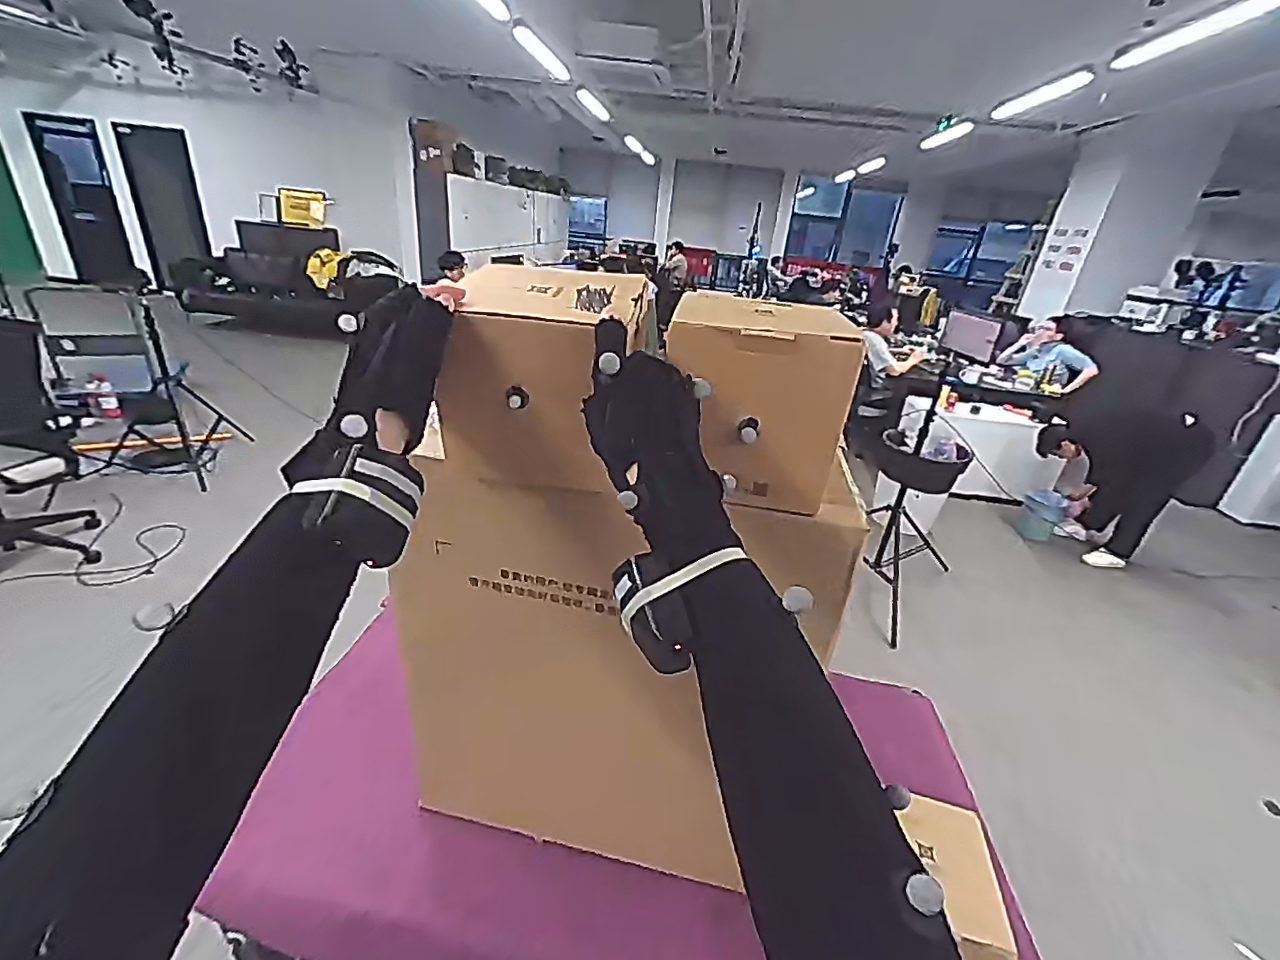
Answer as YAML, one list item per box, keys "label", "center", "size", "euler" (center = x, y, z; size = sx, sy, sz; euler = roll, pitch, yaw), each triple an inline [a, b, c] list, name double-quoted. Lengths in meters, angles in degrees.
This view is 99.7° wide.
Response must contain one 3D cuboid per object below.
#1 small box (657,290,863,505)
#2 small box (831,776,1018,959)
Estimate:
- label: "small box"
  center: [0.113, -0.091, 0.563]
  size: [0.168, 0.176, 0.179]
  euler: [9, 28, 5]
- label: "small box"
  center: [0.363, 0.551, 0.728]
  size: [0.168, 0.176, 0.179]
  euler: [12, 25, 11]
